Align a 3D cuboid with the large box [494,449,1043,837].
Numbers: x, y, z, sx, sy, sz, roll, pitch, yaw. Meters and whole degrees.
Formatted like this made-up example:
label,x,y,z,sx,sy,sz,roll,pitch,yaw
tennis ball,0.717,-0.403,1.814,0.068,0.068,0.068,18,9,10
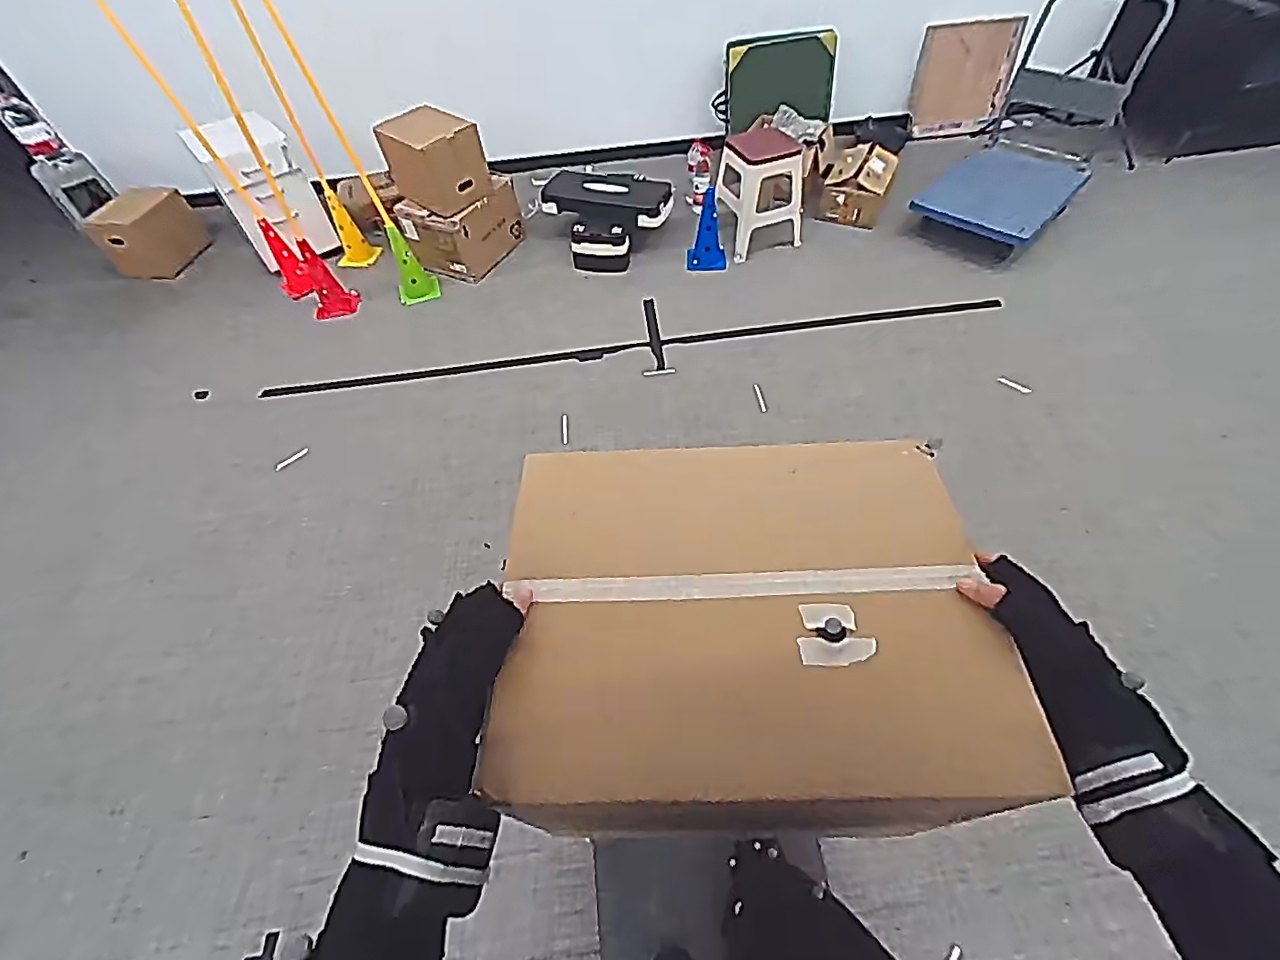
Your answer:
label,x,y,z,sx,sy,sz,roll,pitch,yaw
large box,0.093,0.189,0.594,0.408,0.320,0.320,-2,53,2
